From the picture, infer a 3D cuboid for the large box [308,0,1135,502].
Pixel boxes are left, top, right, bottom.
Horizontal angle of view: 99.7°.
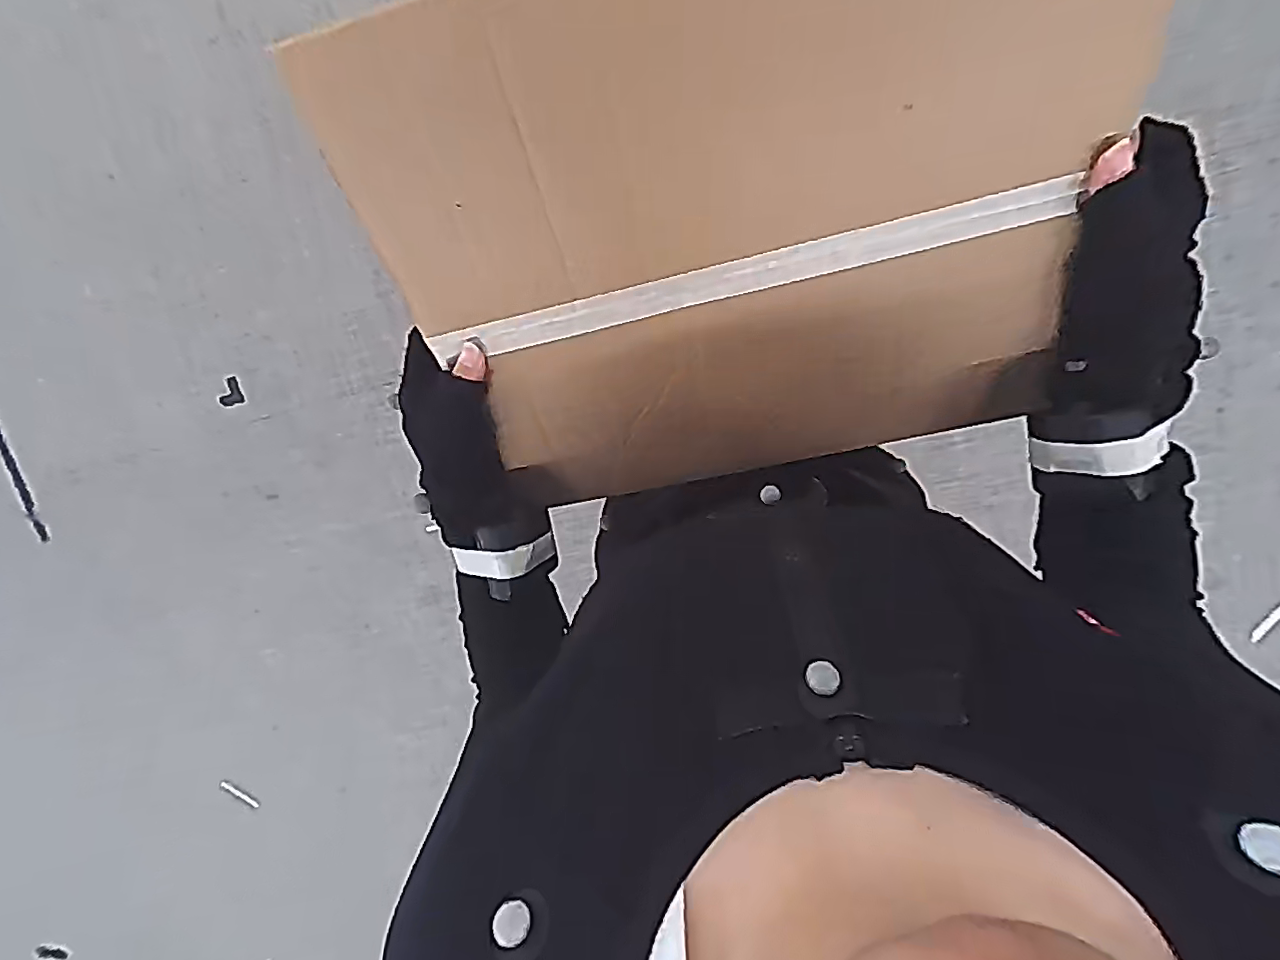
[{"bbox_3d":[0.056,-0.229,0.446,0.408,0.320,0.320,-11,131,8],"label":"large box"}]
